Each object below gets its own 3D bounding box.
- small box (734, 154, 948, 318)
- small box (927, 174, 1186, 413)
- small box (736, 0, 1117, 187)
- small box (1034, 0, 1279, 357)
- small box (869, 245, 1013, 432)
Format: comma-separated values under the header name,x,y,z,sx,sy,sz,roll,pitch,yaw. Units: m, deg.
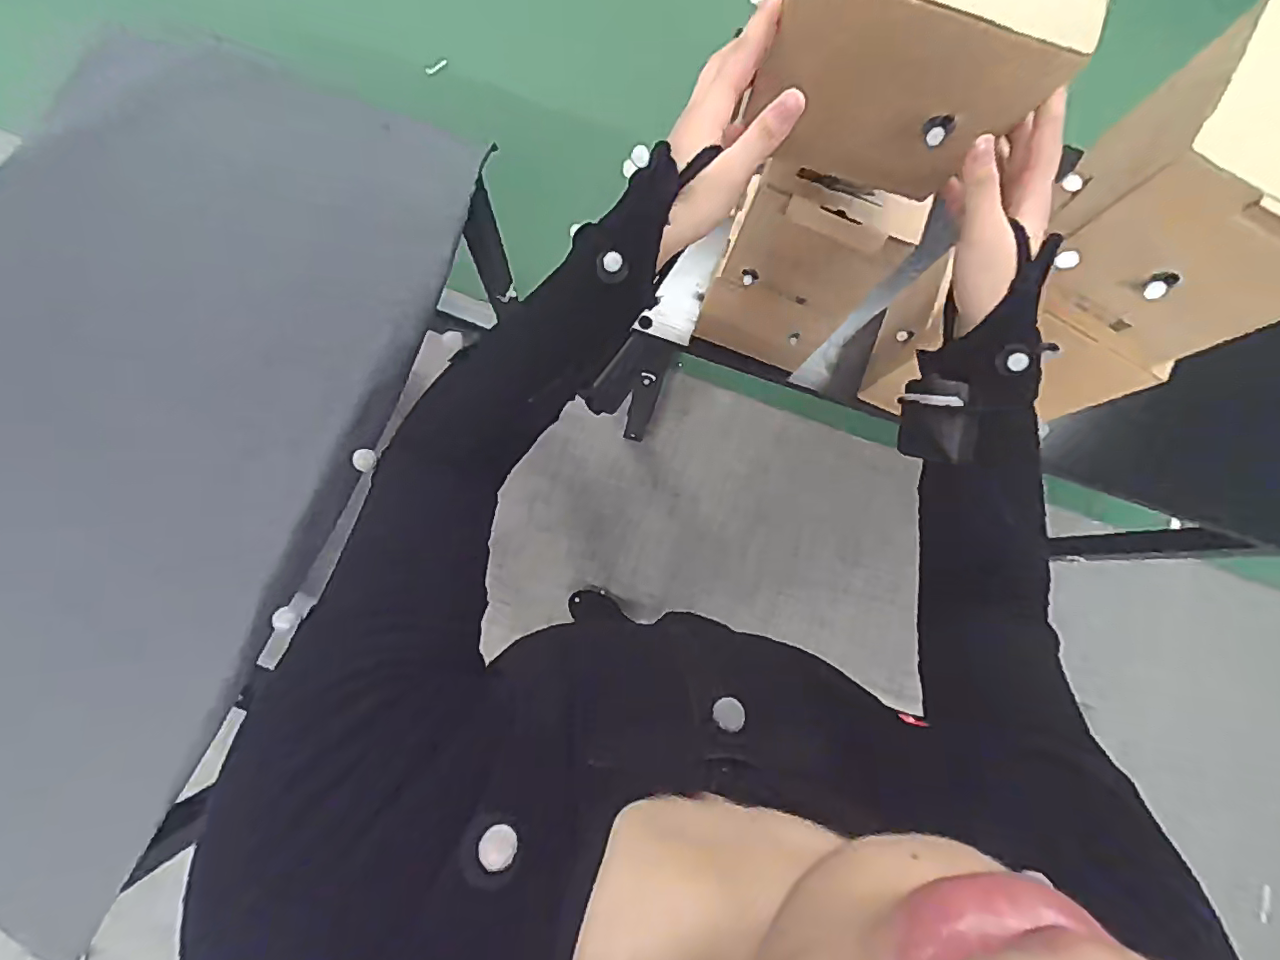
name,x,y,z,sx,sy,sz,roll,pitch,yaw
small box,0.221,-0.316,0.615,0.168,0.176,0.179,22,79,-1
small box,0.477,-0.193,0.615,0.179,0.176,0.168,31,80,1
small box,0.182,-0.331,0.365,0.179,0.176,0.168,13,91,-3
small box,0.488,-0.235,0.457,0.168,0.176,0.179,34,81,3
small box,0.460,-0.189,0.778,0.168,0.176,0.179,23,80,-1
